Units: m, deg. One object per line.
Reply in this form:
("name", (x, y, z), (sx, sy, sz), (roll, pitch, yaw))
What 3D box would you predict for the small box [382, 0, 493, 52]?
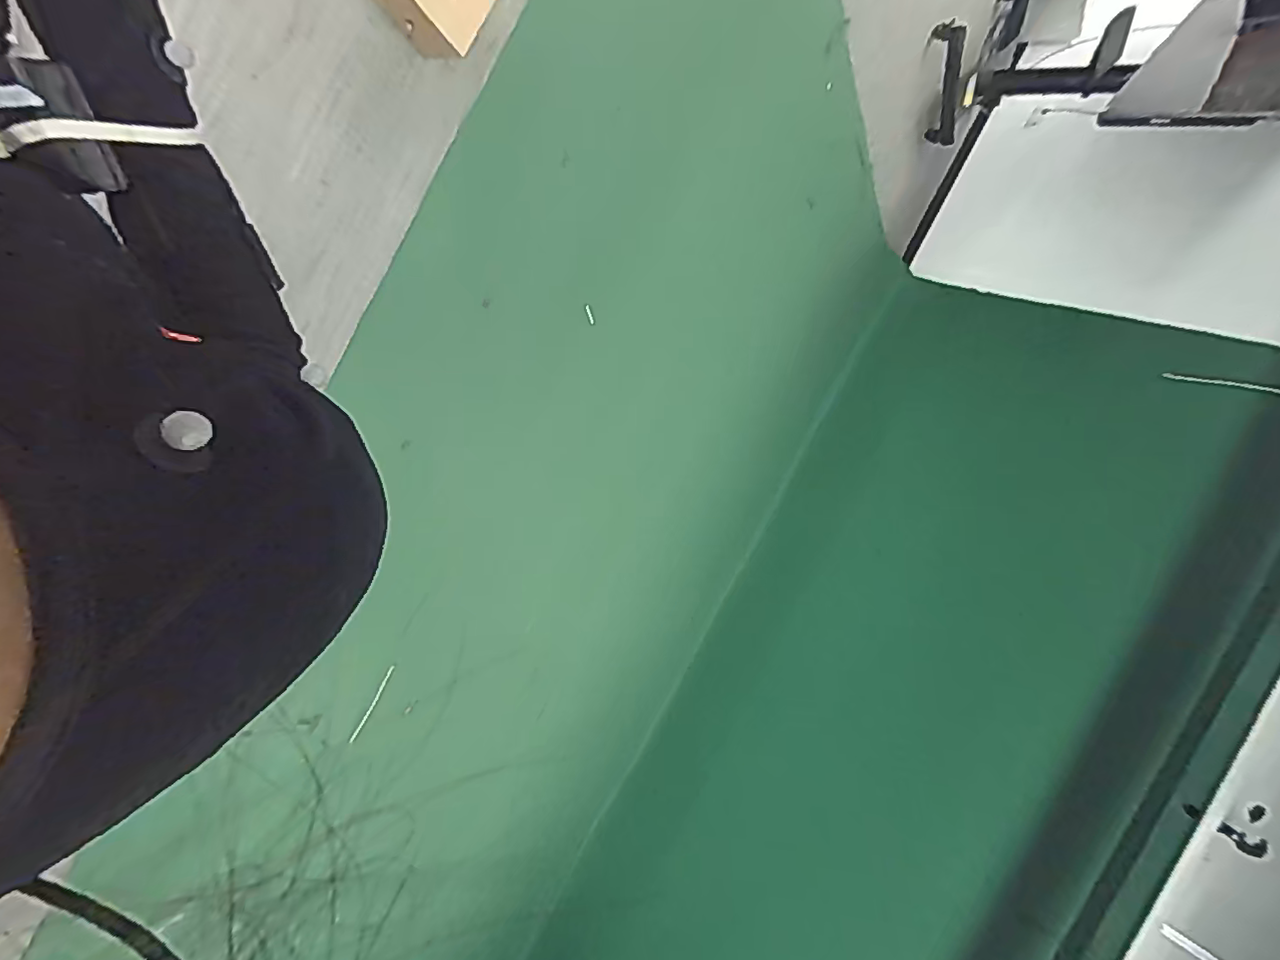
("small box", (-0.442, -1.062, 1.158), (0.179, 0.176, 0.168), (-61, 147, 1))
